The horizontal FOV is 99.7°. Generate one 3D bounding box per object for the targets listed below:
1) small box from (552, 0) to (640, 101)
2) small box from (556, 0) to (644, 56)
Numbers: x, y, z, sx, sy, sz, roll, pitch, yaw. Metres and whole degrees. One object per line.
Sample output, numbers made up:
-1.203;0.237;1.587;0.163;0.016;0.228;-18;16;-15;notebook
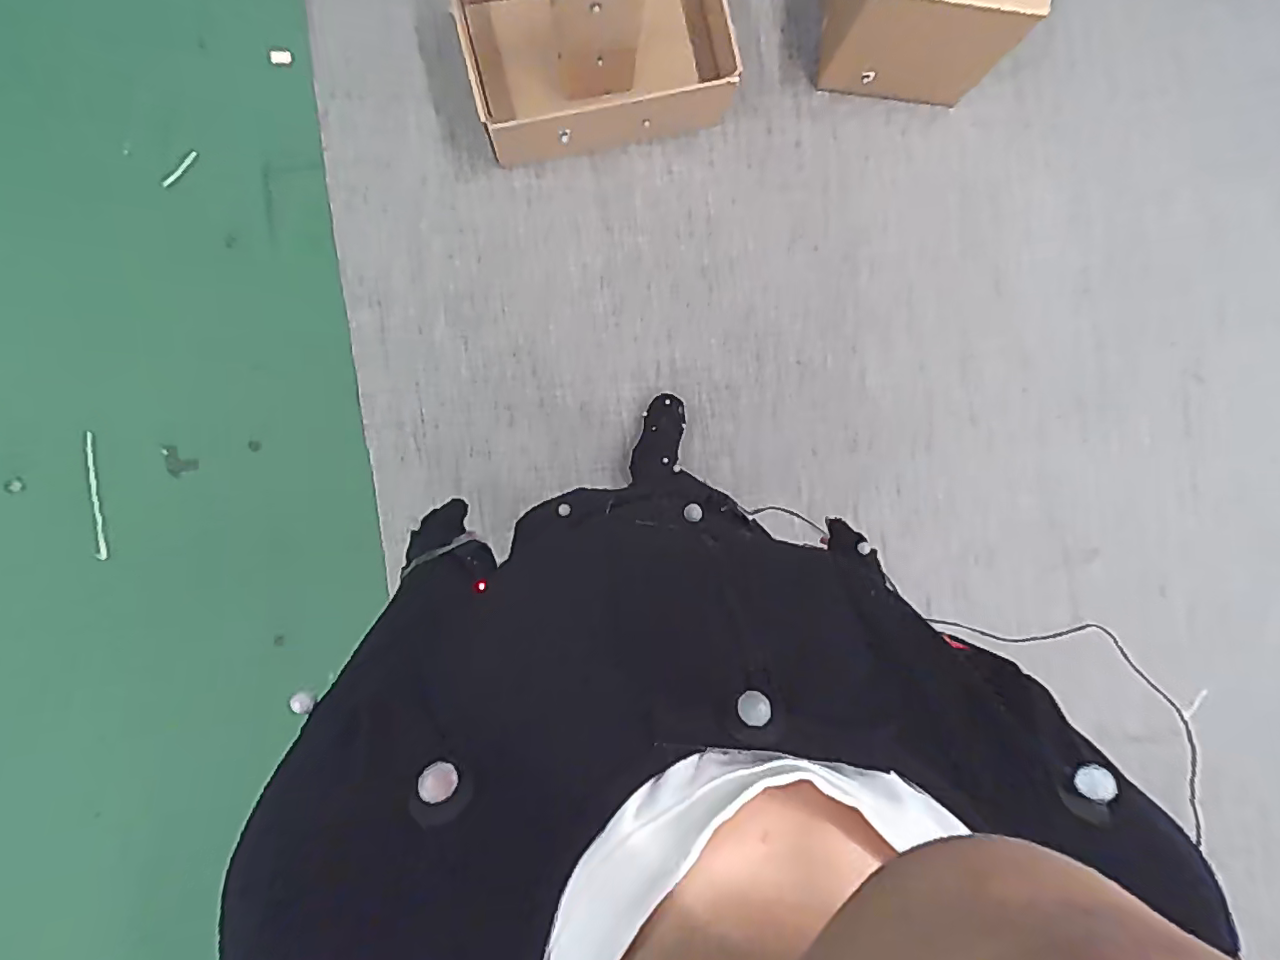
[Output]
-0.107;-1.047;1.294;0.179;0.176;0.168;-13;93;-6;small box
-0.089;-1.031;1.131;0.179;0.176;0.168;-10;92;-5;small box
